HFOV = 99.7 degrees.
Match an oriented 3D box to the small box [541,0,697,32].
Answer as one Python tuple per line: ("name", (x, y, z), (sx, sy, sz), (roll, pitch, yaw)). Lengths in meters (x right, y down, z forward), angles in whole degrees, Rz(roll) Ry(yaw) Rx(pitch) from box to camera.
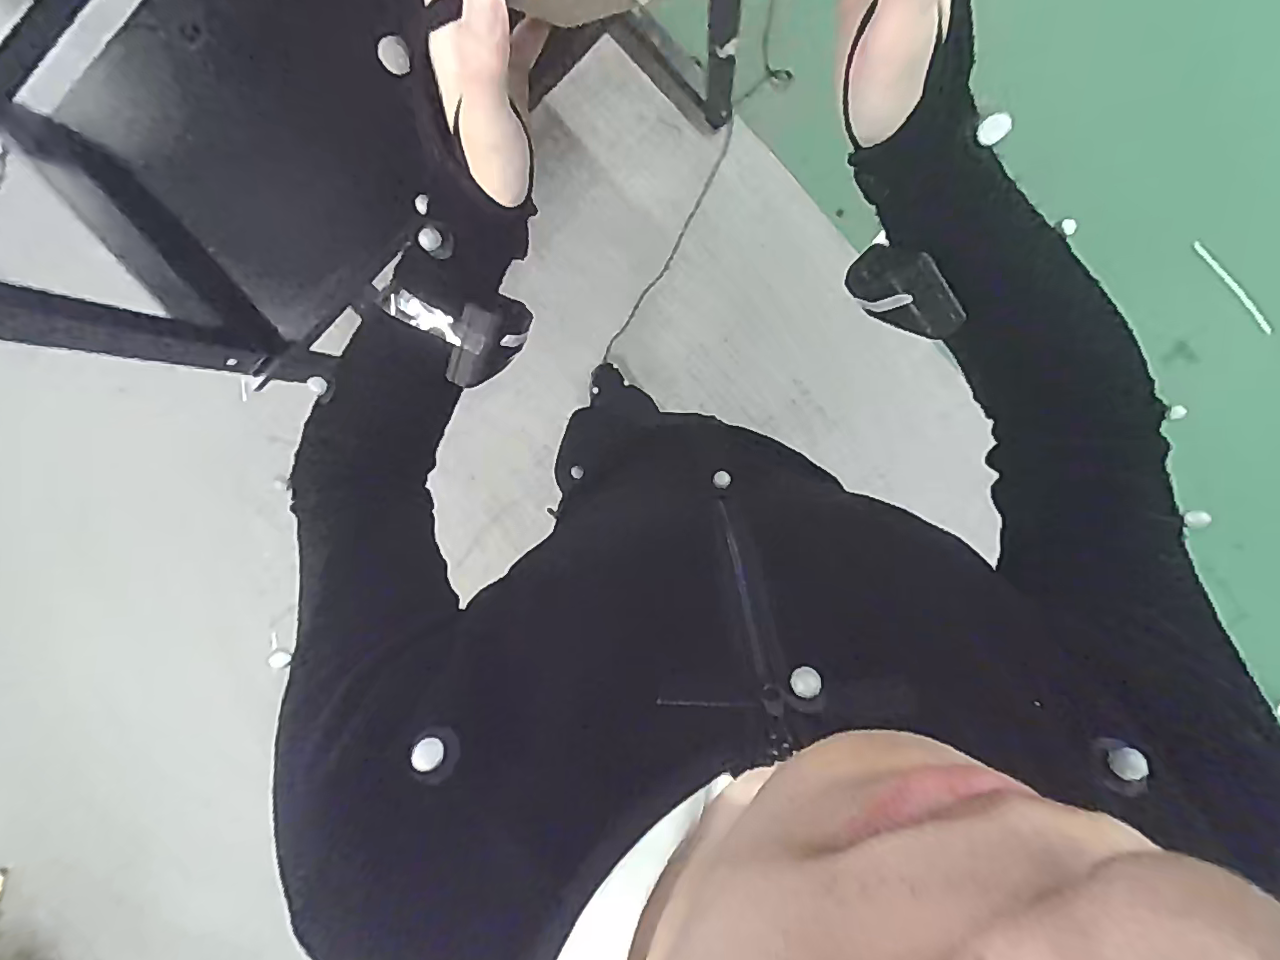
("small box", (0.005, -0.326, 0.228), (0.168, 0.176, 0.179), (-7, 124, 11))
